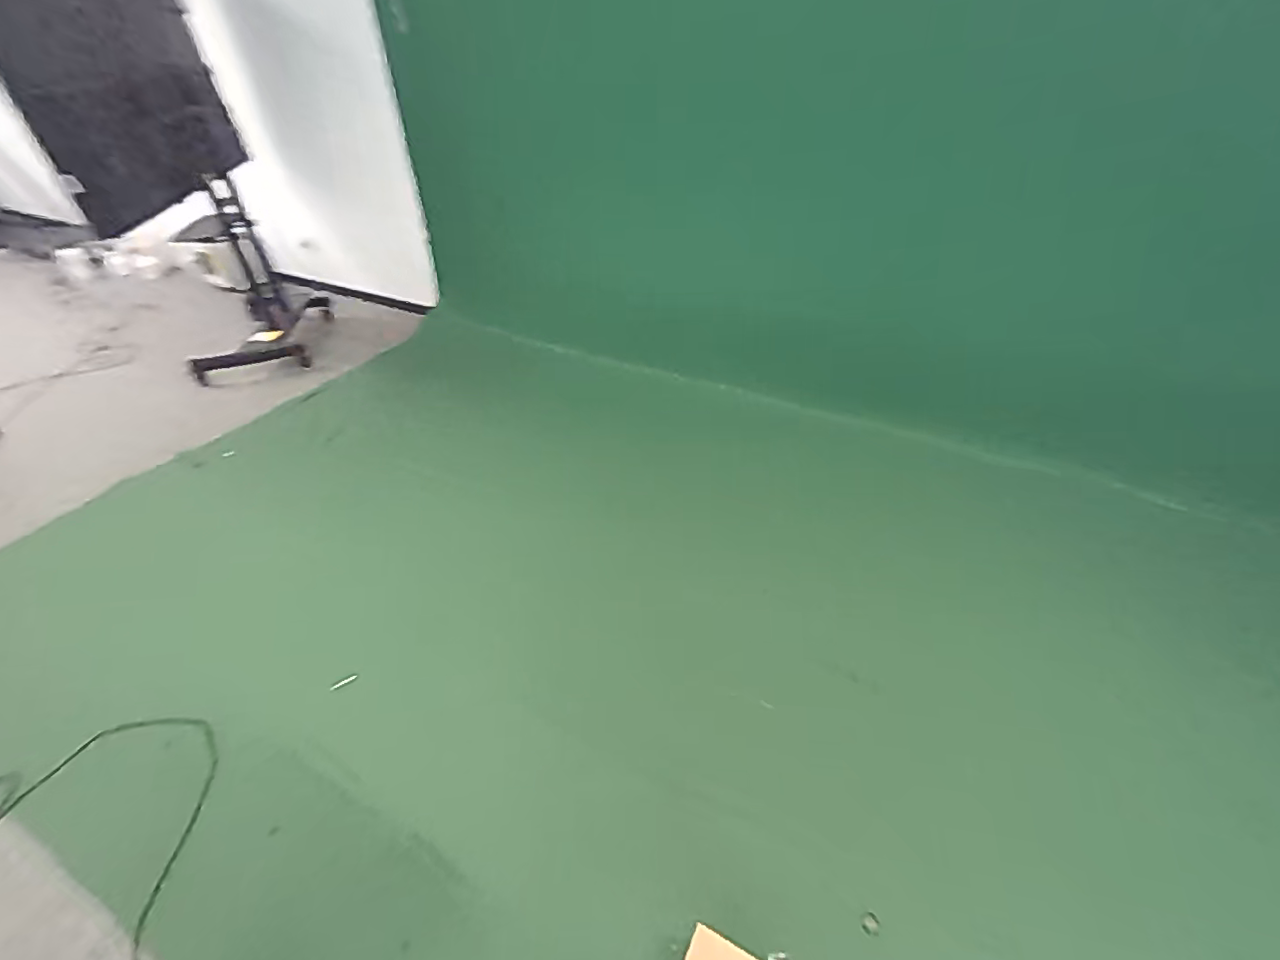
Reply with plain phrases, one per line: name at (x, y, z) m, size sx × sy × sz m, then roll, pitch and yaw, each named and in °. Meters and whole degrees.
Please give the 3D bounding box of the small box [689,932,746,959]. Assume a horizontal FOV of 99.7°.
small box at (0.161, 1.112, 1.136) m, size 0.168 × 0.176 × 0.179 m, roll 18°, pitch 43°, yaw 21°
